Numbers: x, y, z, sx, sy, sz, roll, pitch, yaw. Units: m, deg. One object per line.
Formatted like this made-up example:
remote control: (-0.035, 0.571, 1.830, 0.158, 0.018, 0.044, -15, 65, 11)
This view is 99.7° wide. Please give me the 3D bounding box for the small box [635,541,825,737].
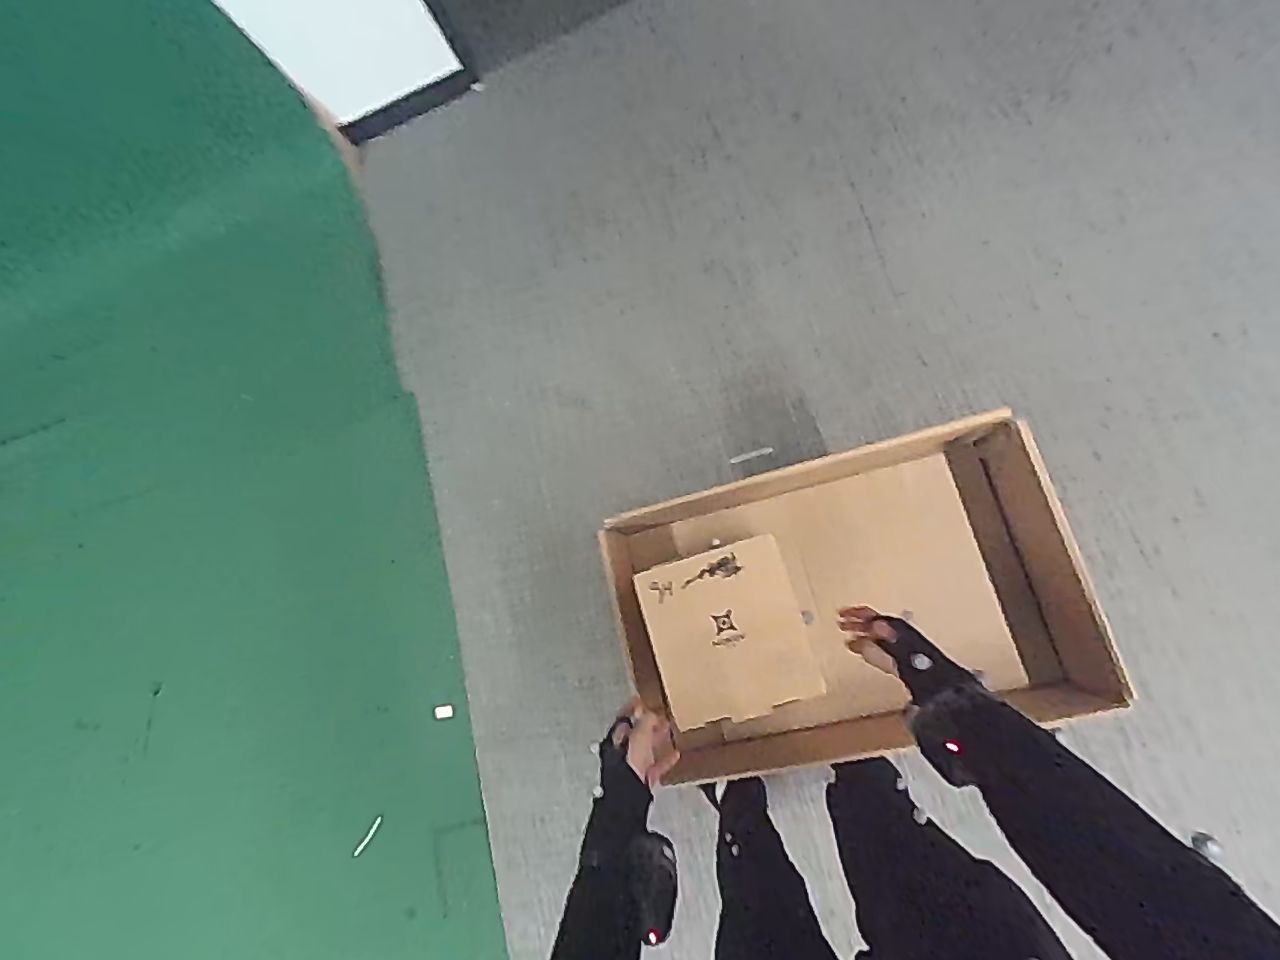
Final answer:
small box: (0.111, 0.180, 0.653, 0.168, 0.176, 0.179, -18, 77, 10)
